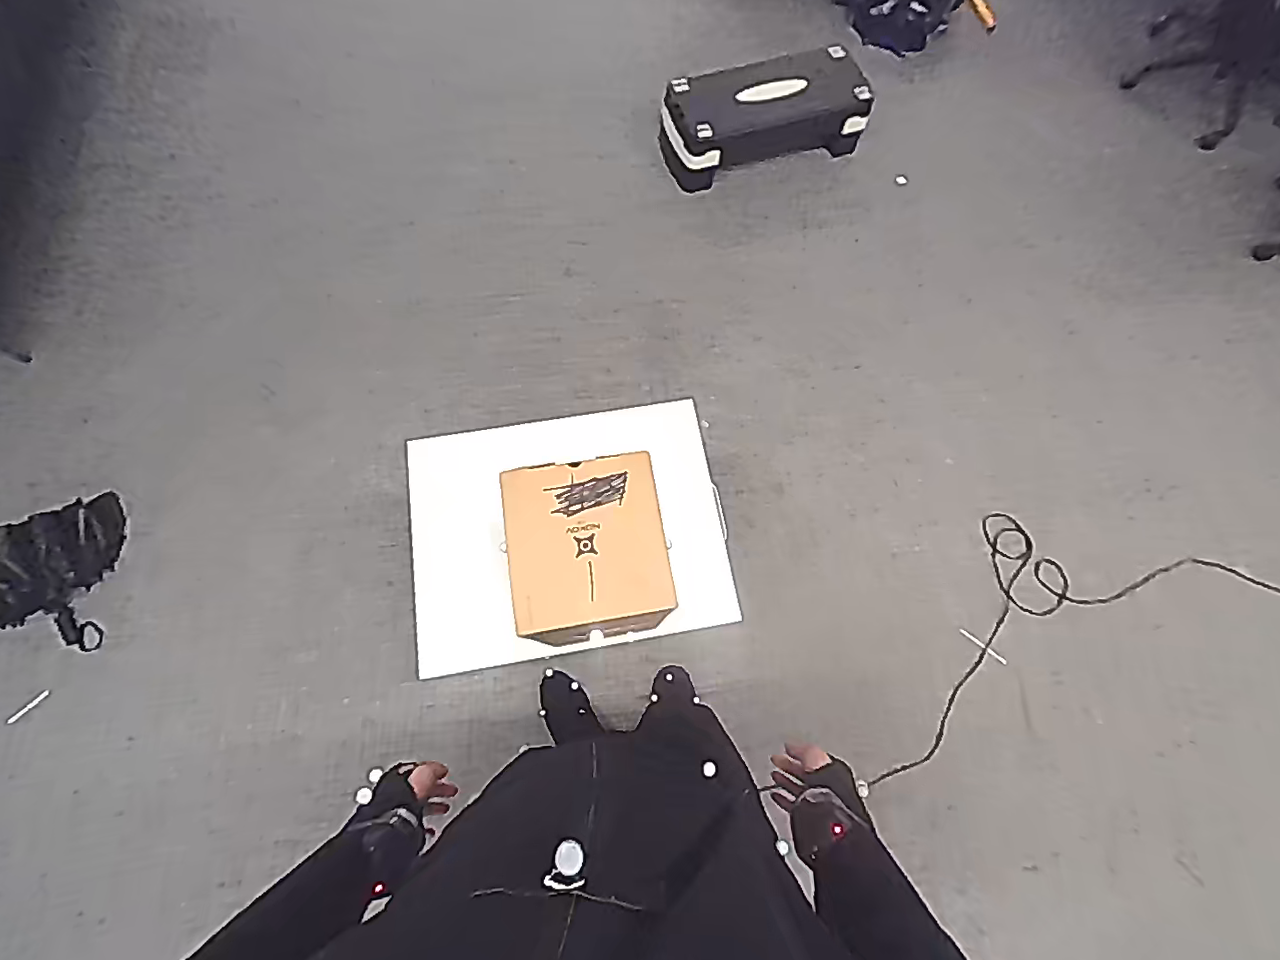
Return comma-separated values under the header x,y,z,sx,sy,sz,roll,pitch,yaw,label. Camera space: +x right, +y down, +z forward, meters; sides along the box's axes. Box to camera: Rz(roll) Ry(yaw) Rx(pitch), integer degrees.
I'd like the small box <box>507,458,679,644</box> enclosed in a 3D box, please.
x,y,z,sx,sy,sz,roll,pitch,yaw,label
-0.057,0.092,0.644,0.168,0.176,0.179,-8,72,-5,small box
